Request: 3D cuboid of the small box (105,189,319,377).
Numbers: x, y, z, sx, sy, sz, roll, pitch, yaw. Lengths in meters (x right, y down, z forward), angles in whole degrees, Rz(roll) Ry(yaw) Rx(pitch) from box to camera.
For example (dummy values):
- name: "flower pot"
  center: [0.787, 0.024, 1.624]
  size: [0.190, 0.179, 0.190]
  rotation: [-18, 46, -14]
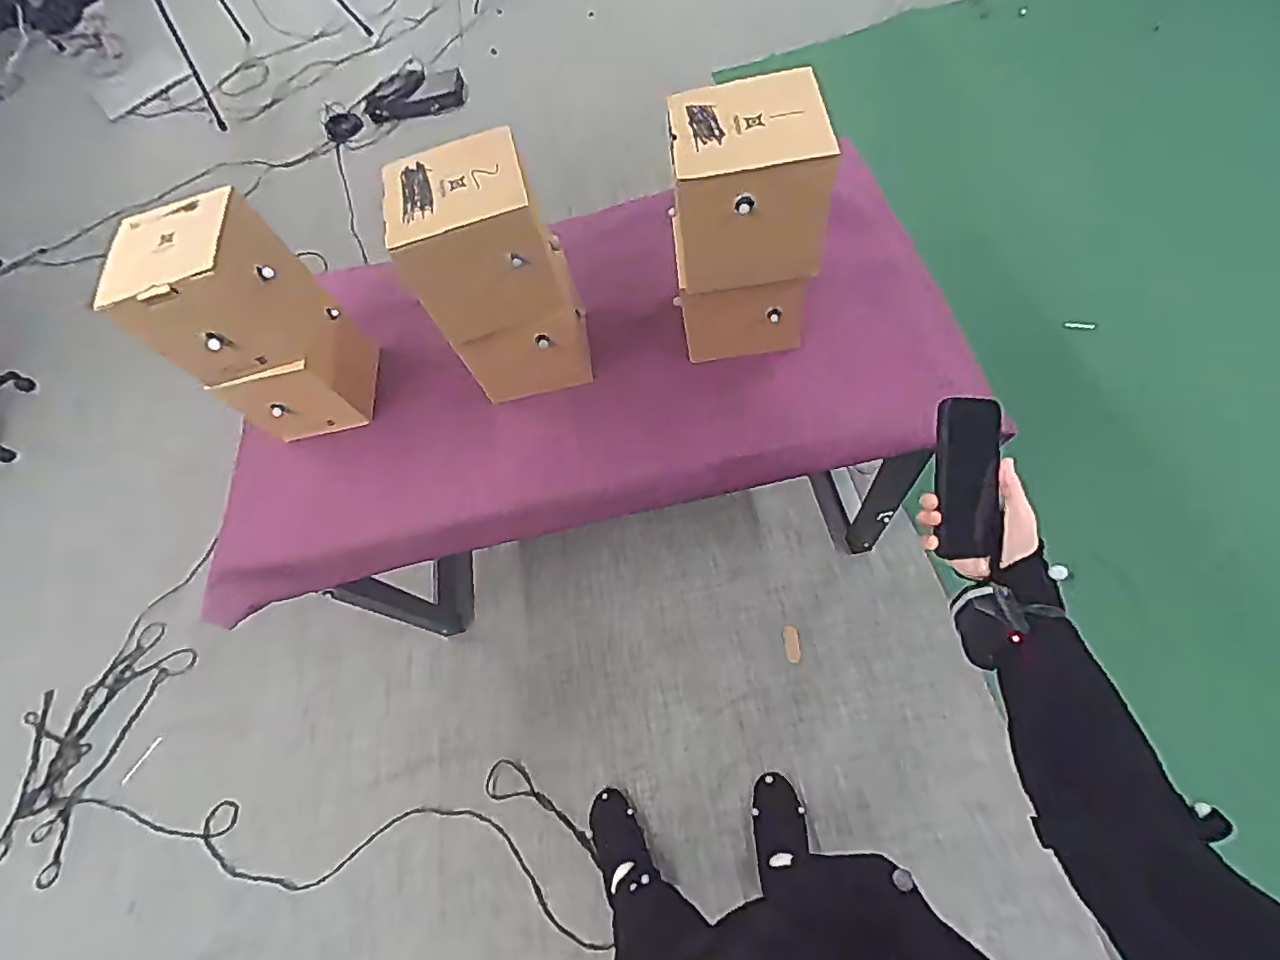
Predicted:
- name: "small box"
  center: [-0.594, -0.270, 0.779]
  size: [0.168, 0.176, 0.179]
  rotation: [-15, 63, 3]

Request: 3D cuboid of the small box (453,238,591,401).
- name: "small box"
  center: [-0.181, -0.250, 0.873]
  size: [0.179, 0.176, 0.168]
  rotation: [-11, 63, 5]

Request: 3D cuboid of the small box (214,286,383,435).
- name: "small box"
  center: [-0.565, -0.191, 0.920]
  size: [0.168, 0.176, 0.179]
  rotation: [-11, 63, 6]

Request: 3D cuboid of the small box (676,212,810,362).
- name: "small box"
  center: [0.154, -0.304, 0.836]
  size: [0.179, 0.176, 0.168]
  rotation: [-6, 63, 9]

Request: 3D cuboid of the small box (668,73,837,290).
- name: "small box"
  center: [0.135, -0.364, 0.683]
  size: [0.179, 0.176, 0.168]
  rotation: [-6, 63, 8]
